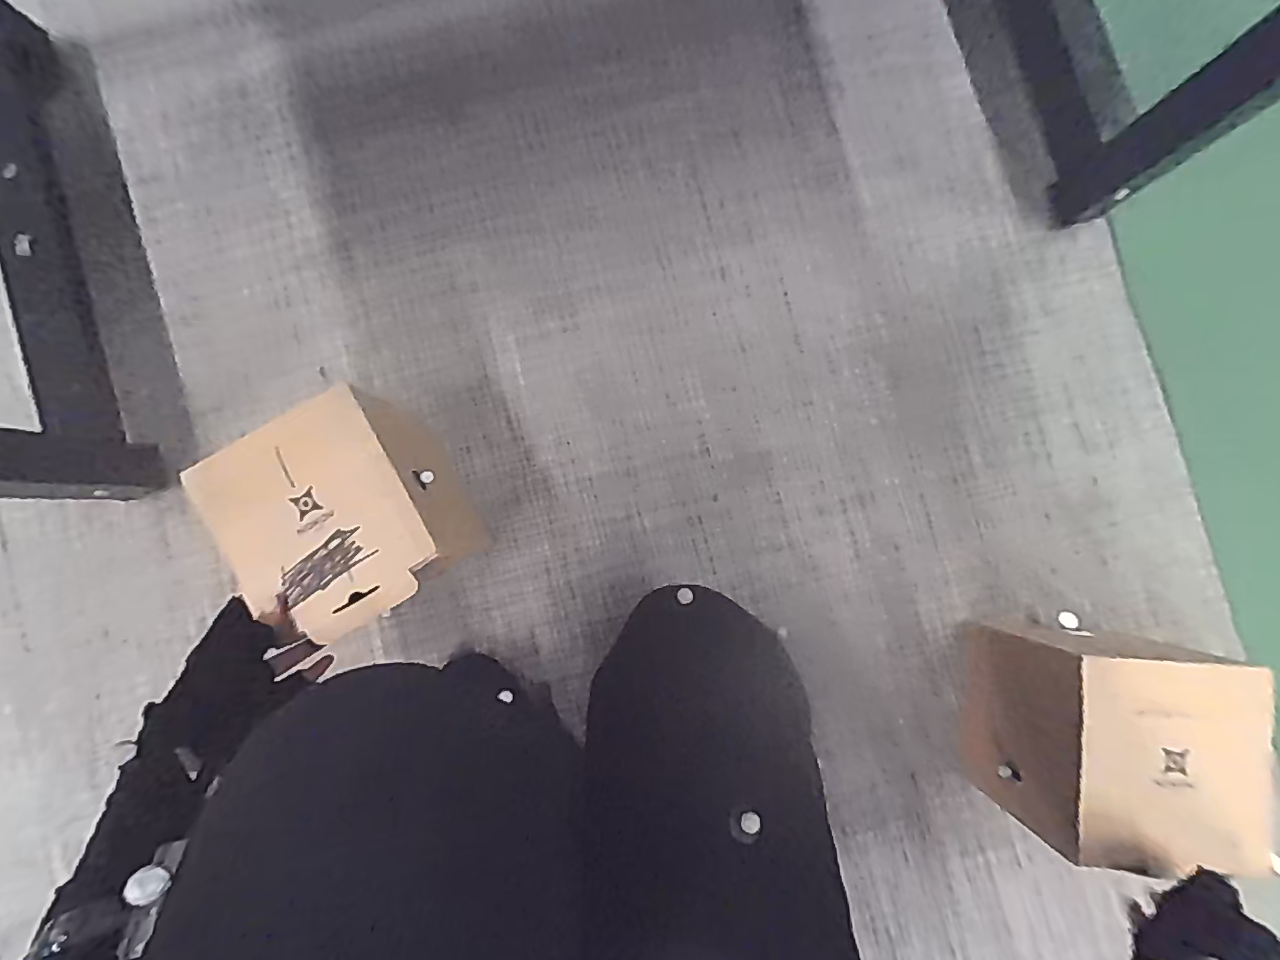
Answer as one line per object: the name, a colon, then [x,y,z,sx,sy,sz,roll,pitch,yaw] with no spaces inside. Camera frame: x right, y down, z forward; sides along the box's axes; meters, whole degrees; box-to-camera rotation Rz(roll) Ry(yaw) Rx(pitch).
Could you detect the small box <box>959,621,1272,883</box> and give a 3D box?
small box: [0.442,0.248,0.531,0.168,0.176,0.179,3,86,-1]
